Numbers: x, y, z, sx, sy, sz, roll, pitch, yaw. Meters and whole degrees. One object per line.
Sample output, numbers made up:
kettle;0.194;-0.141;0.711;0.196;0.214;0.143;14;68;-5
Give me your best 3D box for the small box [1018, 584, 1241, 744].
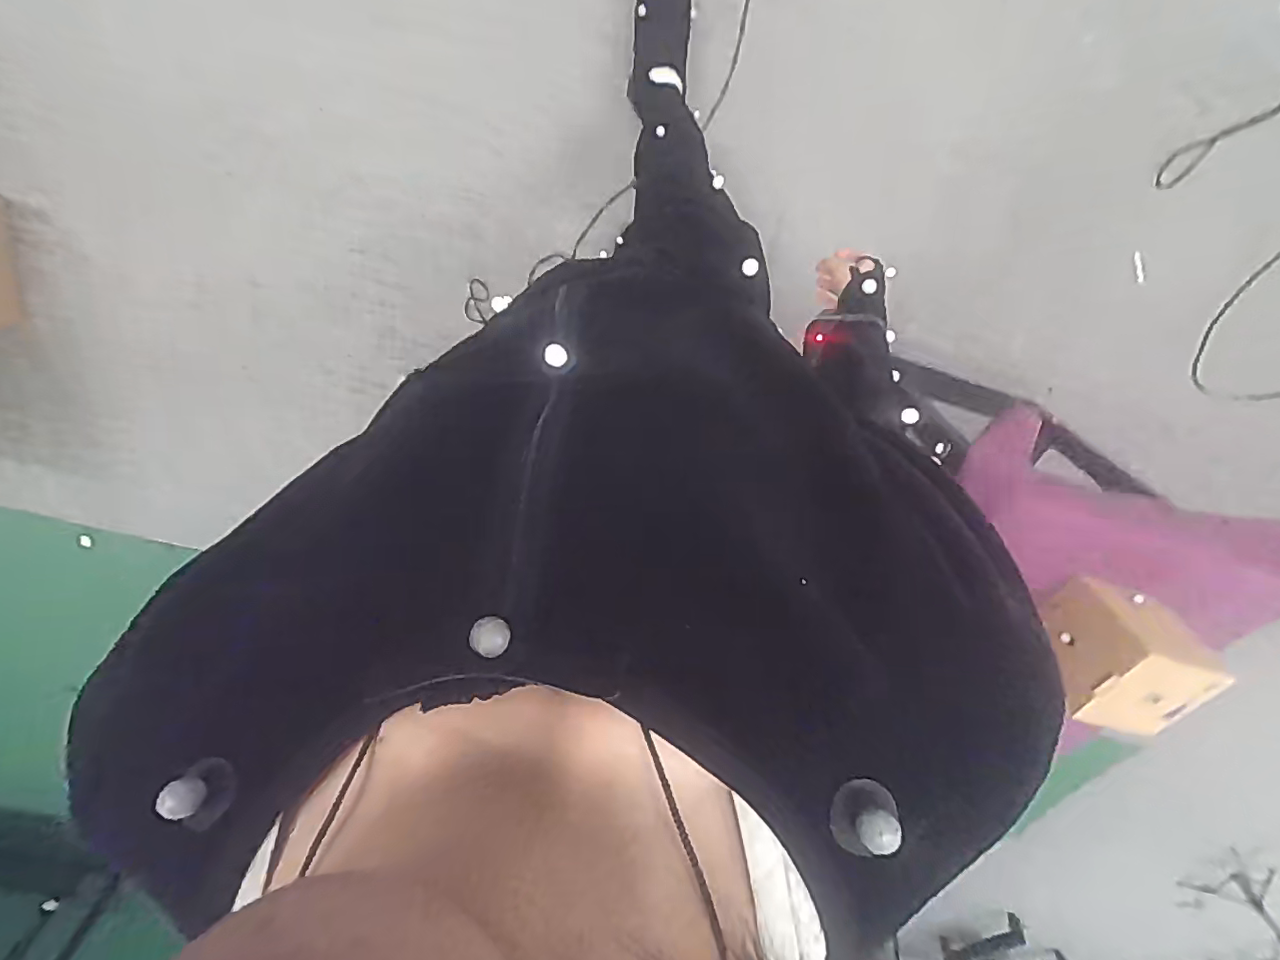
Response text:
small box;0.787;0.298;0.896;0.179;0.176;0.168;18;122;-10
